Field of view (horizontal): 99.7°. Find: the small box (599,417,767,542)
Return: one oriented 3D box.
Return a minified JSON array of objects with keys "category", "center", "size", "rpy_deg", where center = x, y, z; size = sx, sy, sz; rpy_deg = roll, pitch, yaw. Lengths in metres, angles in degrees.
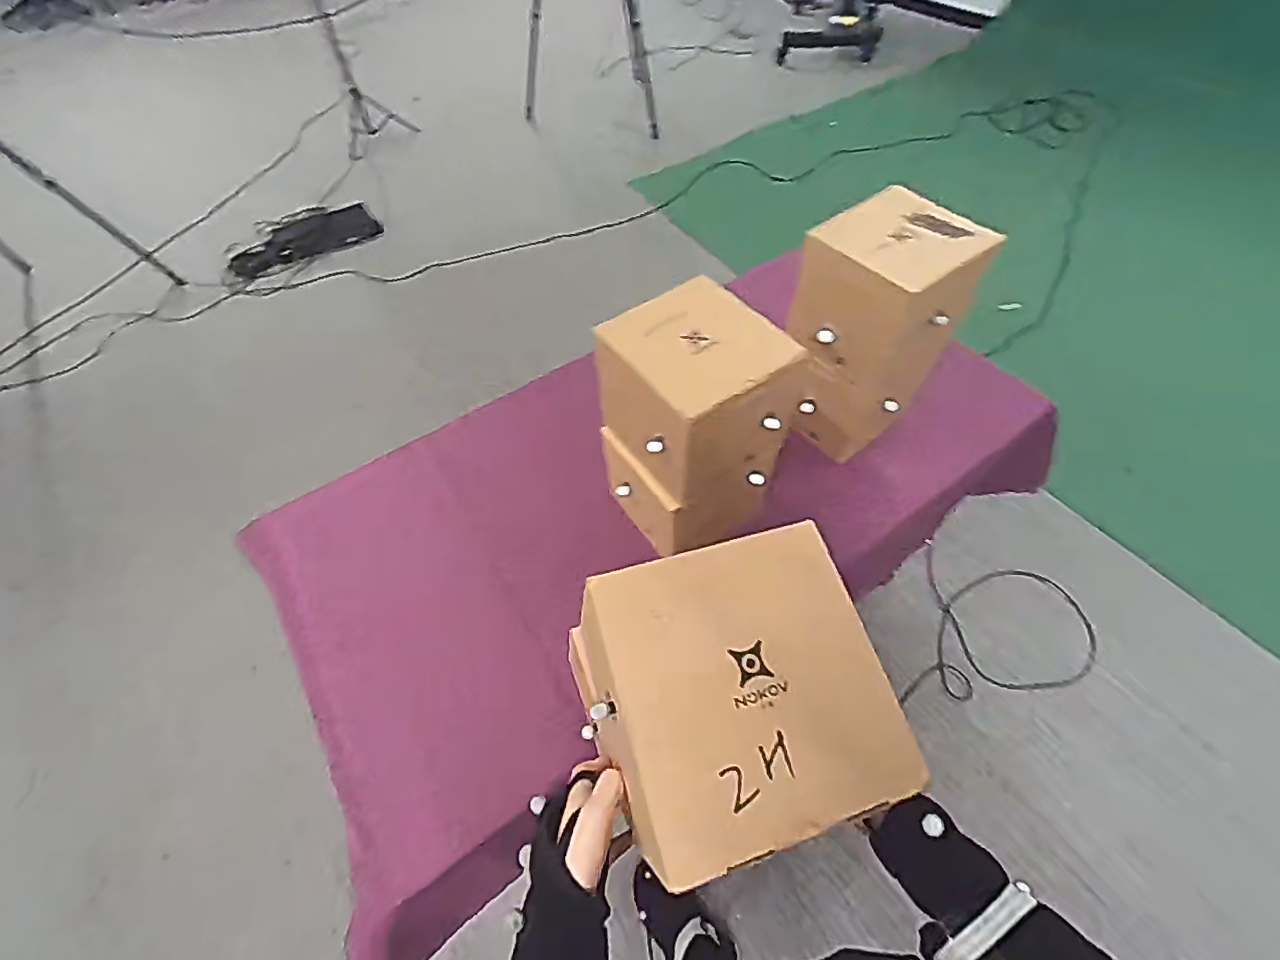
[{"category":"small box","center":[0.061,-0.022,0.795],"size":[0.179,0.176,0.168],"rpy_deg":[-30,60,-17]}]

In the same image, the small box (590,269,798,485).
[{"category":"small box","center":[0.060,-0.117,0.662],"size":[0.168,0.176,0.179],"rpy_deg":[-31,59,-18]}]

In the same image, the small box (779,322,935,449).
[{"category":"small box","center":[0.333,-0.182,0.883],"size":[0.179,0.176,0.168],"rpy_deg":[-34,61,-17]}]

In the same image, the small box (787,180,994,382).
[{"category":"small box","center":[0.327,-0.271,0.745],"size":[0.179,0.176,0.168],"rpy_deg":[-33,60,-17]}]

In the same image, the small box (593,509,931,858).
[{"category":"small box","center":[0.063,0.144,0.405],"size":[0.168,0.176,0.179],"rpy_deg":[-11,67,-12]}]
